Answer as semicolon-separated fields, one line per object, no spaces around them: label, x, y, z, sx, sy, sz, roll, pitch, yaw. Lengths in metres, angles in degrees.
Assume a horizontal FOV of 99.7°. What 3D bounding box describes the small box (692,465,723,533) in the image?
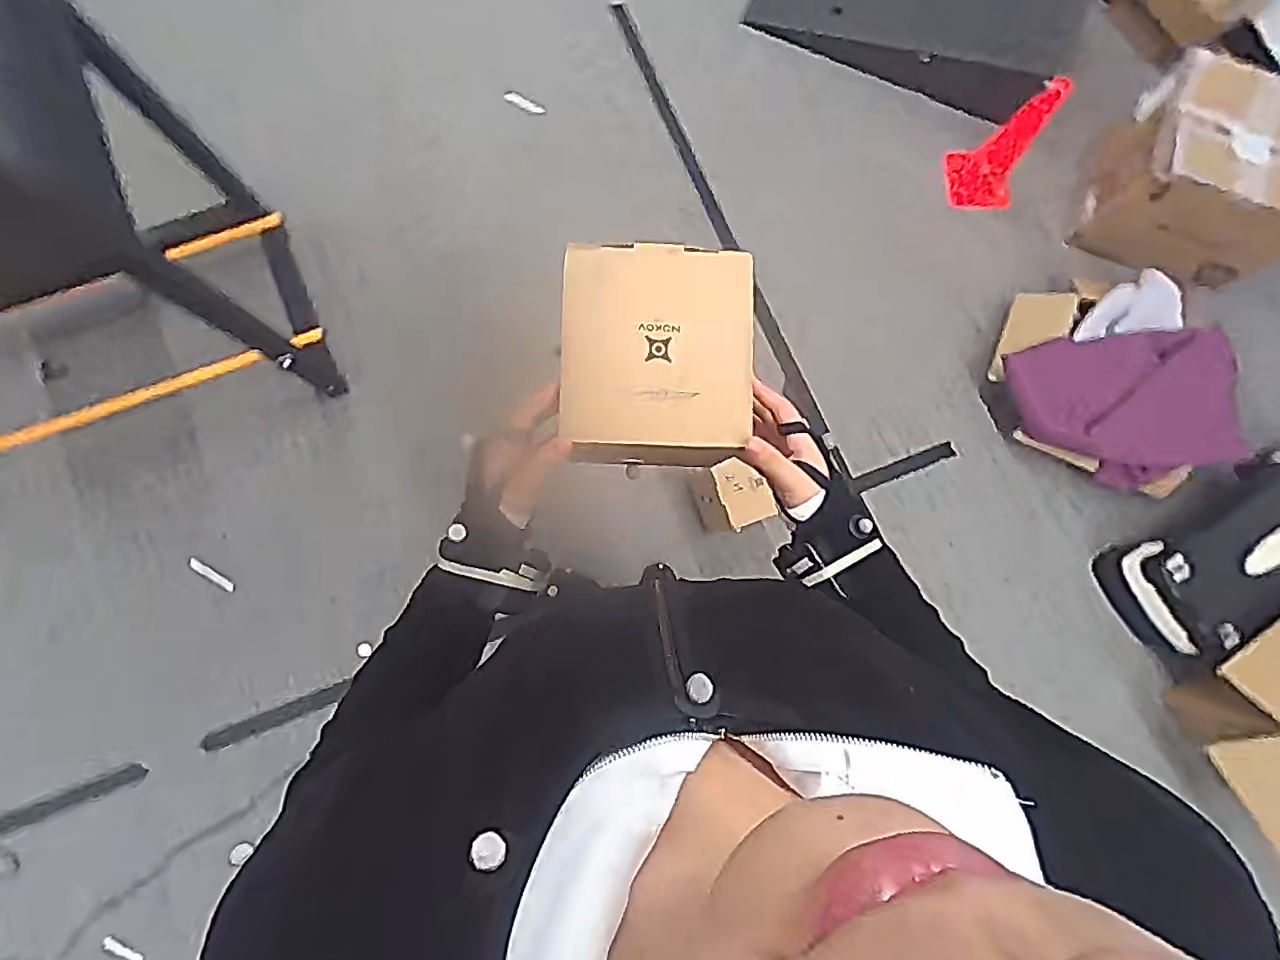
small box;0.249;0.036;1.467;0.168;0.176;0.179;-18;83;-5

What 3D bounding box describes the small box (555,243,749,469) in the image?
small box;0.006;-0.107;0.537;0.168;0.176;0.179;1;86;-4

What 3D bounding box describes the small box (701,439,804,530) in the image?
small box;0.263;0.017;1.303;0.179;0.176;0.168;-18;82;-5
